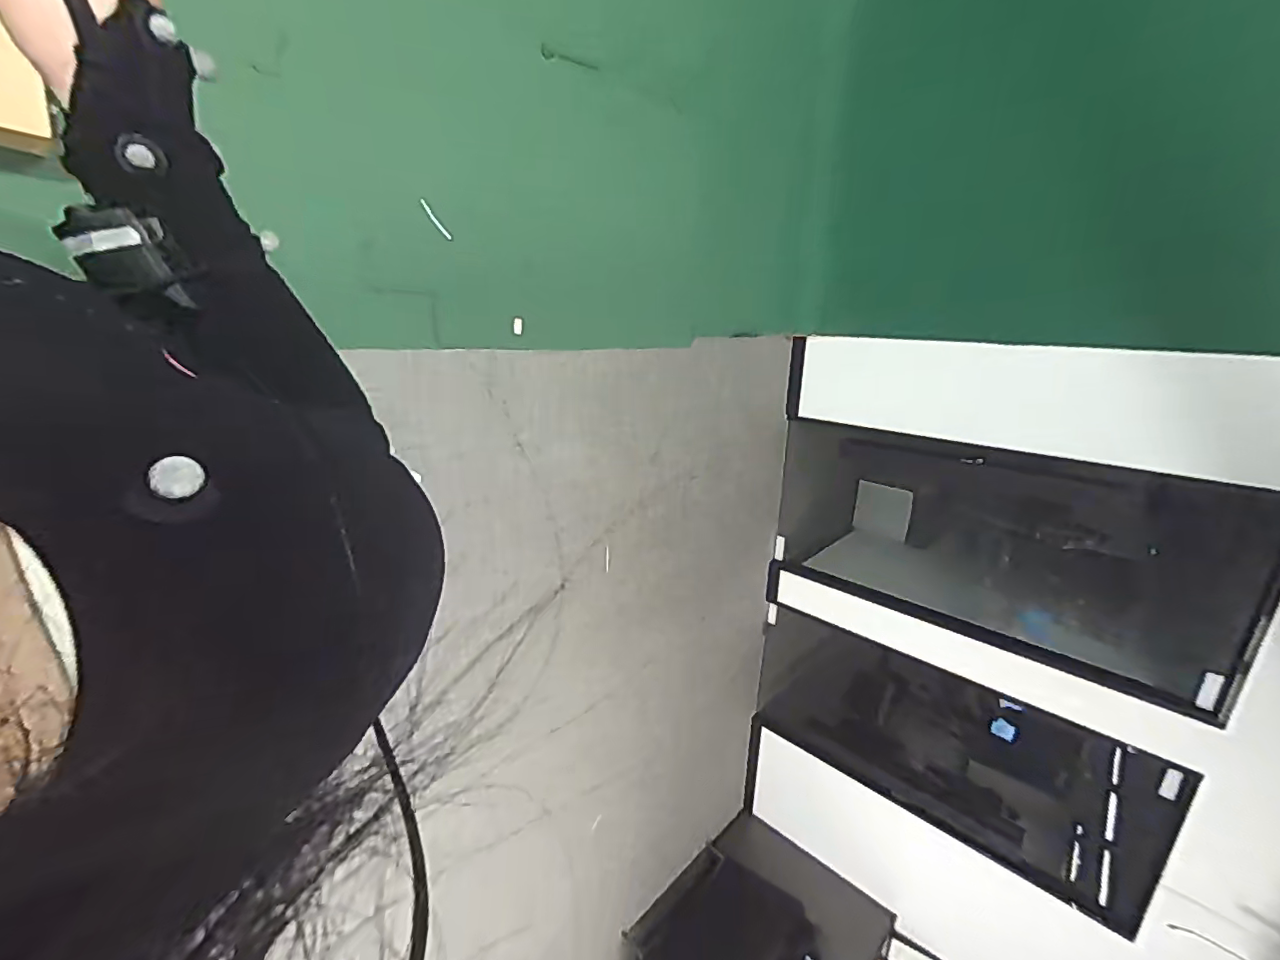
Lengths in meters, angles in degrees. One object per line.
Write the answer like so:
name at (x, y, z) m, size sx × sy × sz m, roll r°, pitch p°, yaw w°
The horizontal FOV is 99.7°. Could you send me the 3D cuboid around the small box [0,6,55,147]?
small box at (-1.034, -0.629, 0.822) m, size 0.179 × 0.176 × 0.168 m, roll -10°, pitch 111°, yaw -46°
